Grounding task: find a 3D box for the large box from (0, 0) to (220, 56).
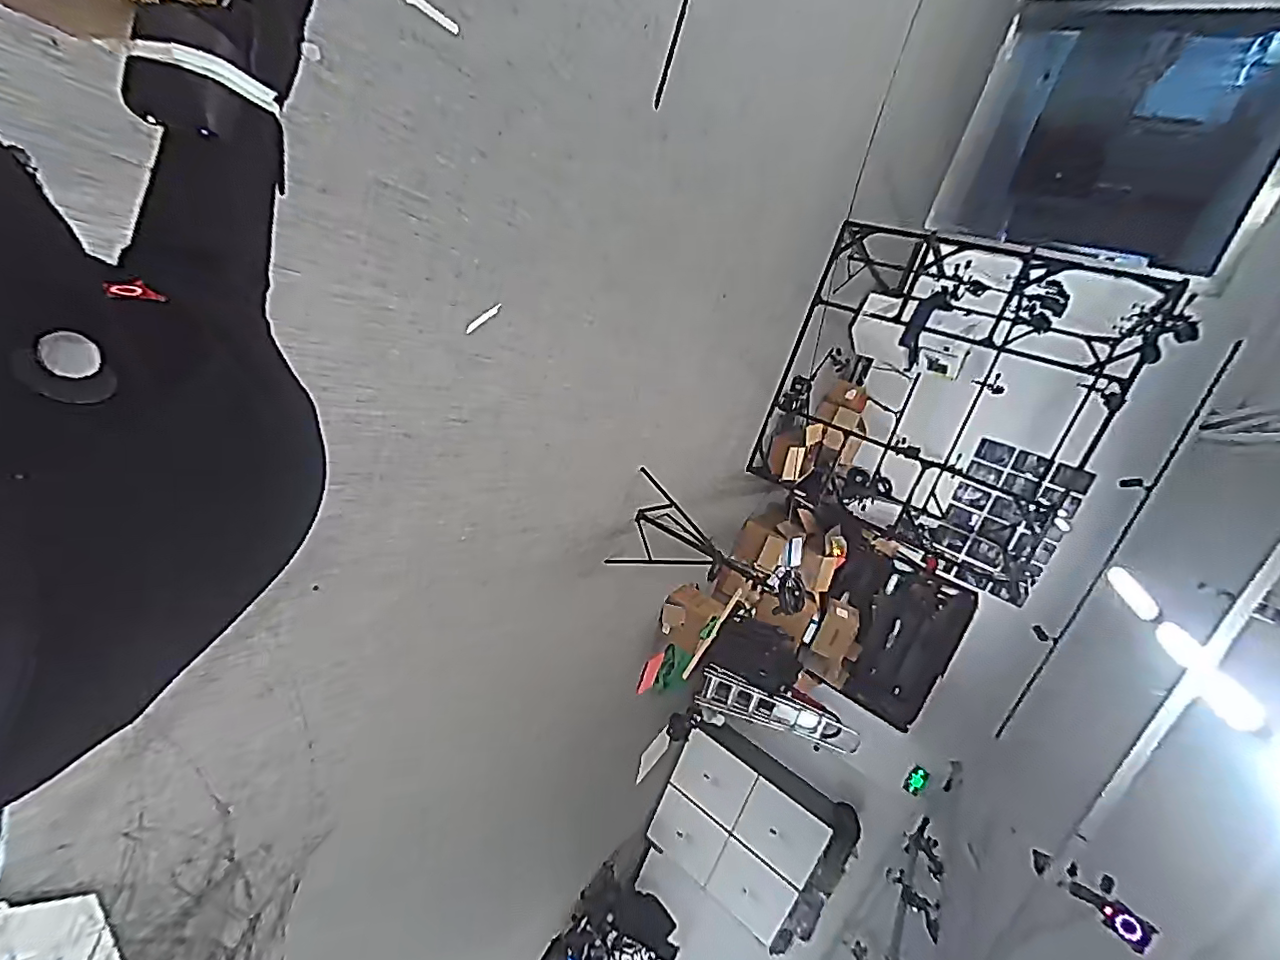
[{"bbox_3d":[-0.475,-0.484,0.245,0.408,0.320,0.320,-3,117,-58],"label":"large box"}]
